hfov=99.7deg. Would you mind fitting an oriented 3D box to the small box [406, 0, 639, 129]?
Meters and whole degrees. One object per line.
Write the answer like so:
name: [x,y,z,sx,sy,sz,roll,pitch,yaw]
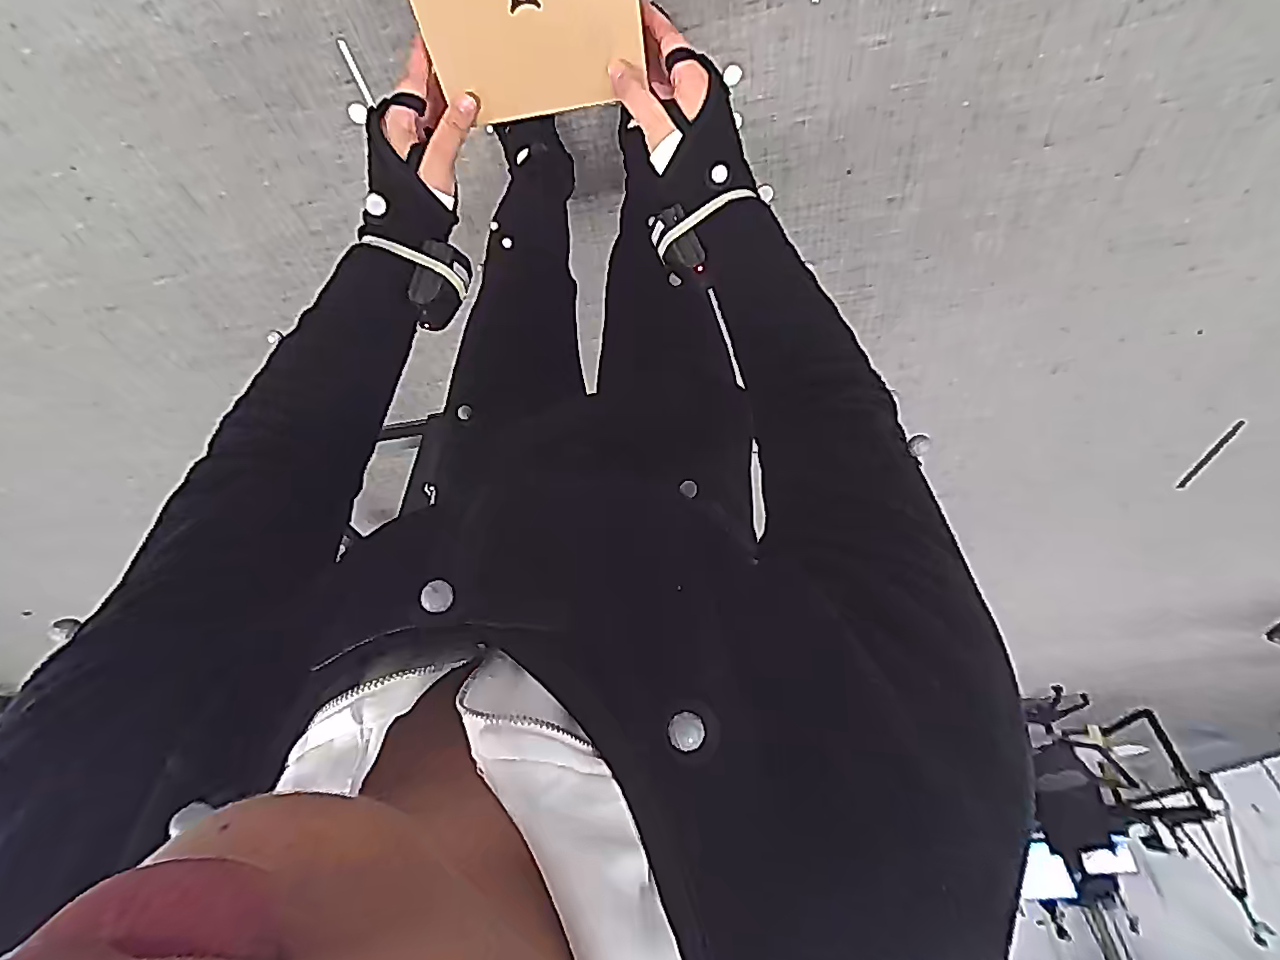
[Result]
small box: [-0.093,-0.421,0.436,0.168,0.176,0.179,-7,140,5]
